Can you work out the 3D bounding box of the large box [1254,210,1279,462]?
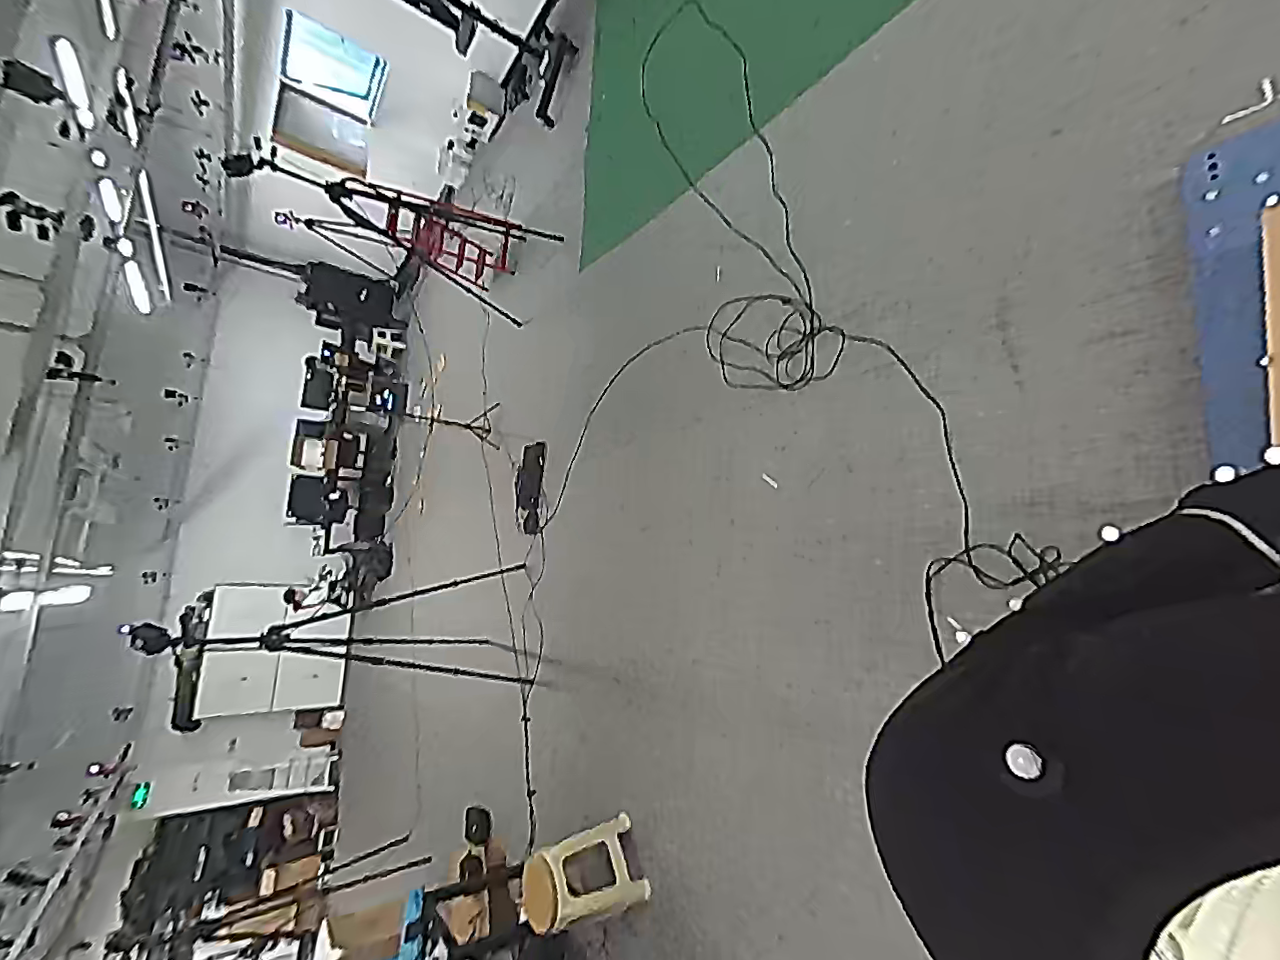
[{"bbox_3d":[1.180,-0.213,0.807,0.320,0.320,0.408,-4,79,53],"label":"large box"}]
